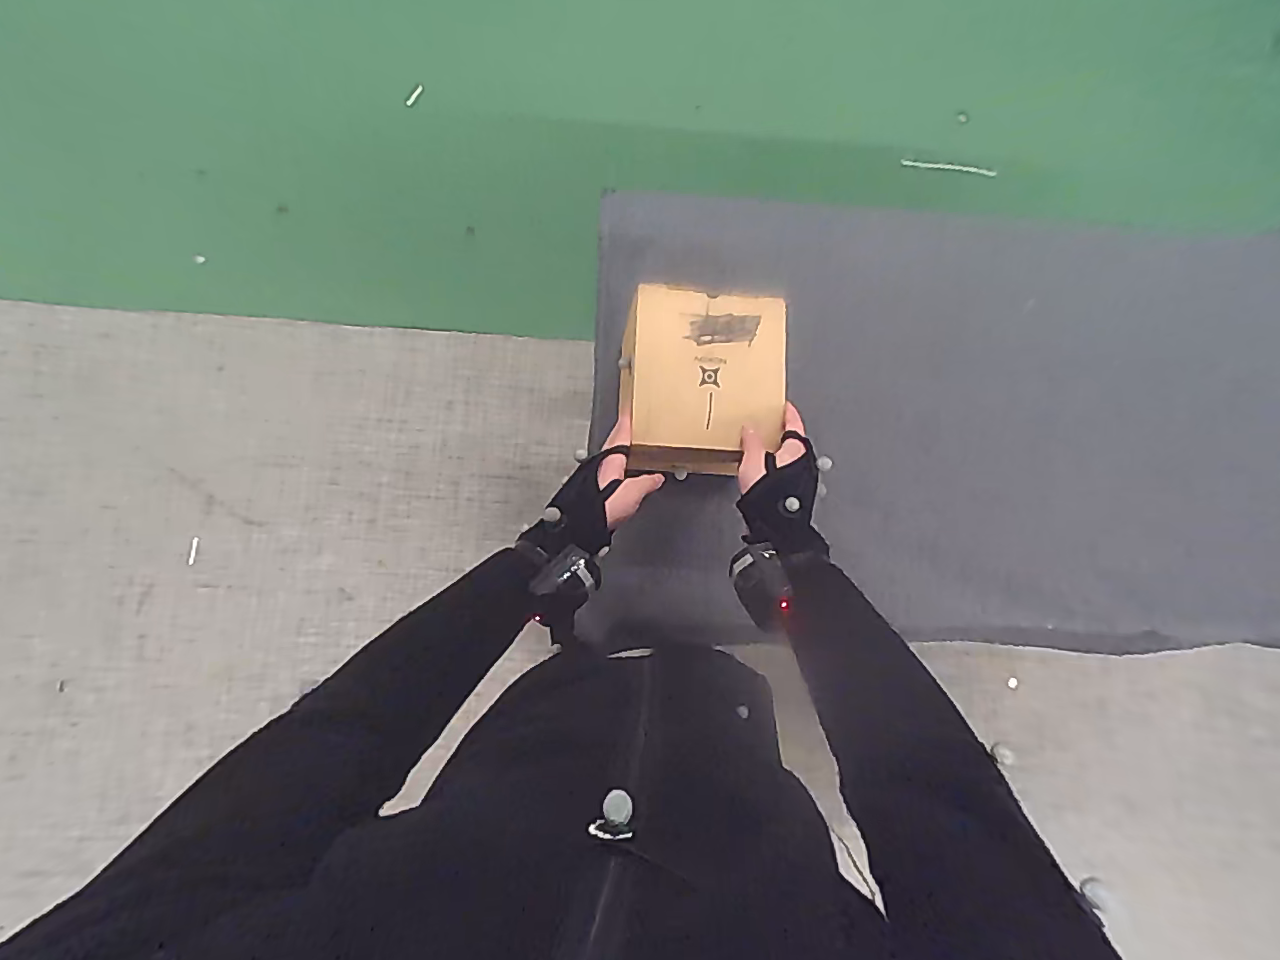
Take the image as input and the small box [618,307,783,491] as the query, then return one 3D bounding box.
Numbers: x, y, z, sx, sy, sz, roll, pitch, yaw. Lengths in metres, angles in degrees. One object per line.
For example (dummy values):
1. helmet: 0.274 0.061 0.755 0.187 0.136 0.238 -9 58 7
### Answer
1. small box: 0.064 -0.087 0.661 0.168 0.176 0.179 3 82 -7
